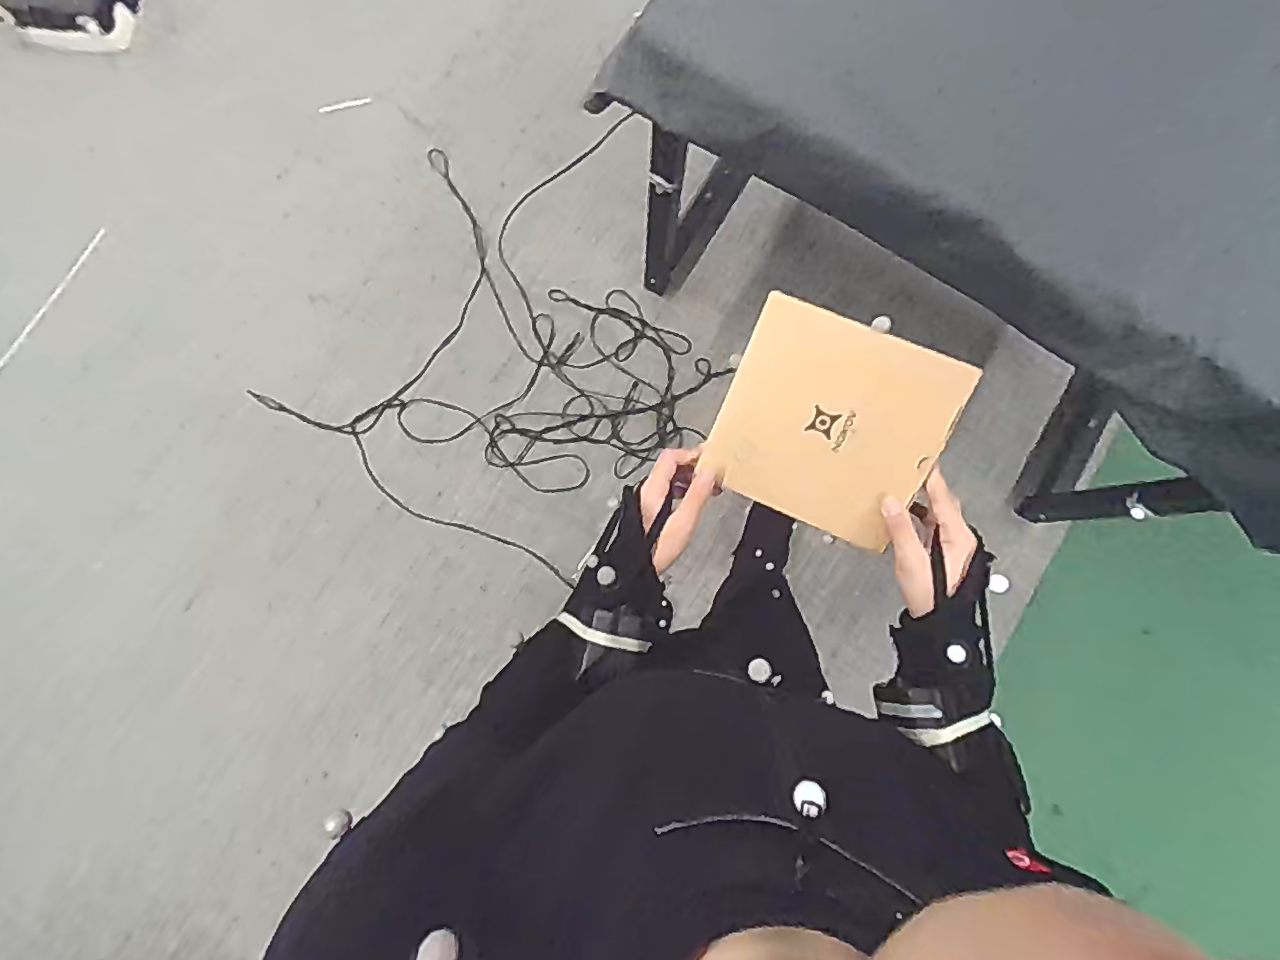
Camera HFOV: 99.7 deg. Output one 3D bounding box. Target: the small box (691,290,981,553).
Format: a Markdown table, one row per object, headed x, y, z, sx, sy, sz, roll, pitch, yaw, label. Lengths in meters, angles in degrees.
| x | y | z | sx | sy | sz | roll | pitch | yaw | label |
| --- | --- | --- | --- | --- | --- | --- | --- | --- | --- |
| 0.169 | -0.056 | 0.514 | 0.179 | 0.176 | 0.168 | 25 | 103 | 9 | small box |
